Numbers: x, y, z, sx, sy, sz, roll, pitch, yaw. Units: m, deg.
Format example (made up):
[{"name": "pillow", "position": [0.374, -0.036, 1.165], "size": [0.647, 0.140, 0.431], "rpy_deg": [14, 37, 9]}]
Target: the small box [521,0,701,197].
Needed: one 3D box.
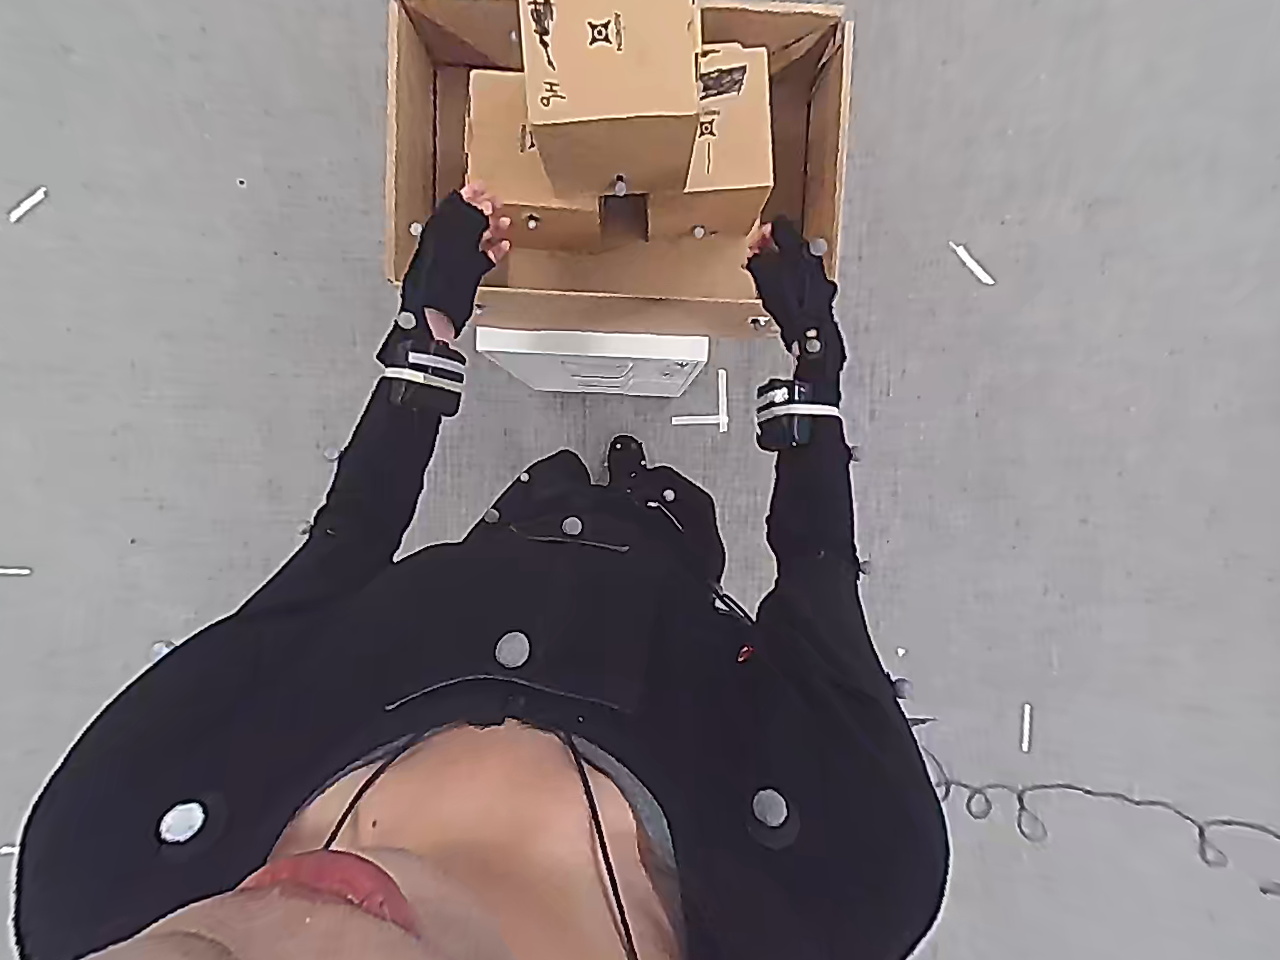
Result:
[{"name": "small box", "position": [-0.032, -0.446, 0.619], "size": [0.179, 0.176, 0.168], "rpy_deg": [-4, 94, -1]}]
